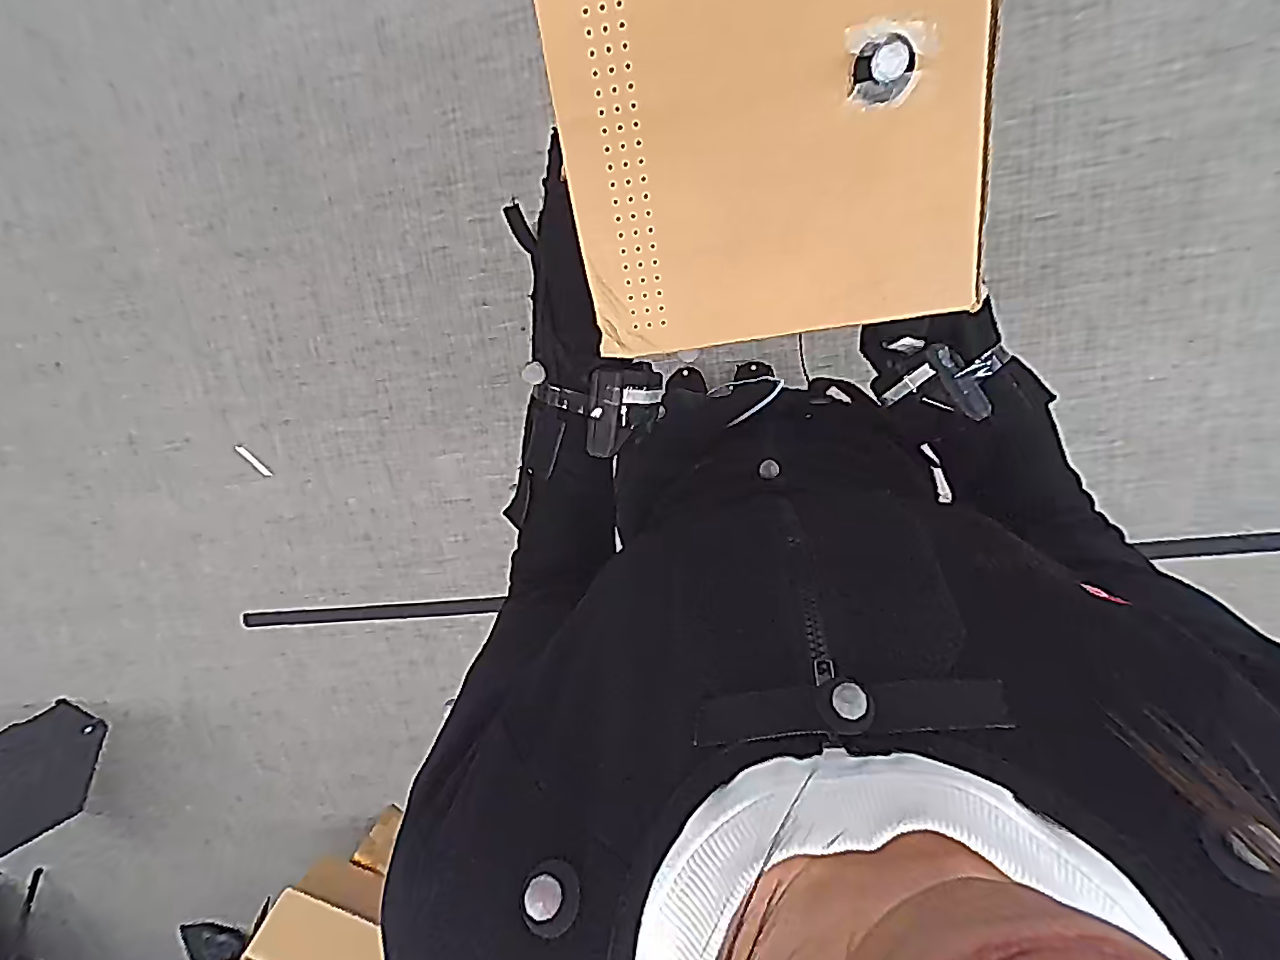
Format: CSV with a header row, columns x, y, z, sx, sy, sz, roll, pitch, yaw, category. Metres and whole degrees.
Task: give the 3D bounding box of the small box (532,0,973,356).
x,y,z,sx,sy,sz,roll,pitch,yaw,category
0.051,-0.178,0.294,0.176,0.168,0.179,-6,112,9,small box
